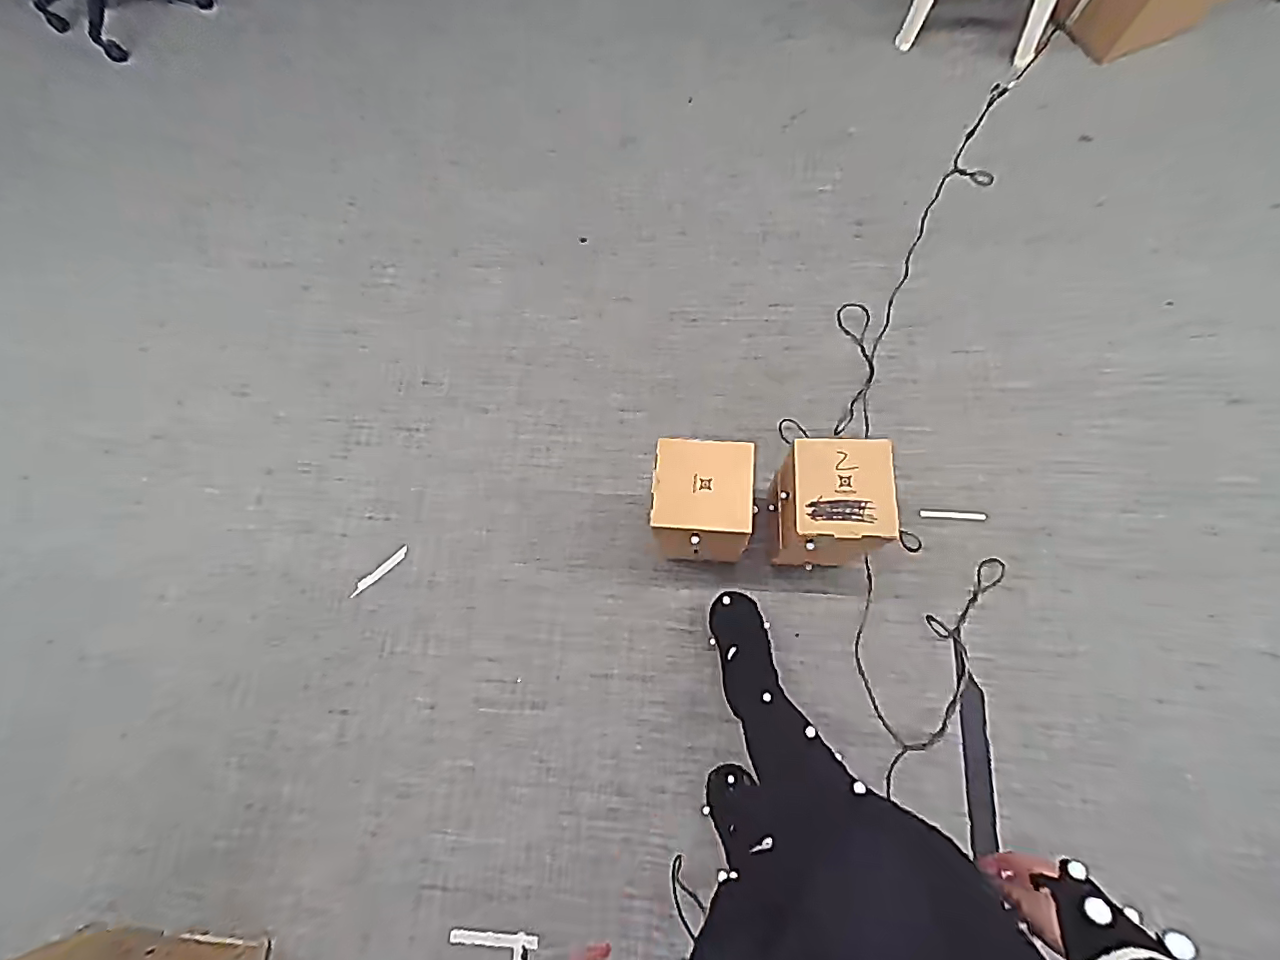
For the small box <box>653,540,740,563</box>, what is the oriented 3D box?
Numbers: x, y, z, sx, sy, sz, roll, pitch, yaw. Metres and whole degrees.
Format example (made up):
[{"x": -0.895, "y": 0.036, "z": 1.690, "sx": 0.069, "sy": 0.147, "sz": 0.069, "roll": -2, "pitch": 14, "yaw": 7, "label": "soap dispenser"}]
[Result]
[{"x": 0.128, "y": 0.085, "z": 1.175, "sx": 0.179, "sy": 0.176, "sz": 0.168, "roll": 2, "pitch": 73, "yaw": 7, "label": "small box"}]

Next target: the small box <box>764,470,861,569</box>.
[{"x": 0.358, "y": 0.088, "z": 1.152, "sx": 0.168, "sy": 0.176, "sz": 0.179, "roll": 1, "pitch": 73, "yaw": 6, "label": "small box"}]

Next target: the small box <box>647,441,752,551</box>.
[{"x": 0.113, "y": 0.036, "z": 1.021, "sx": 0.179, "sy": 0.176, "sz": 0.168, "roll": 3, "pitch": 72, "yaw": 8, "label": "small box"}]
